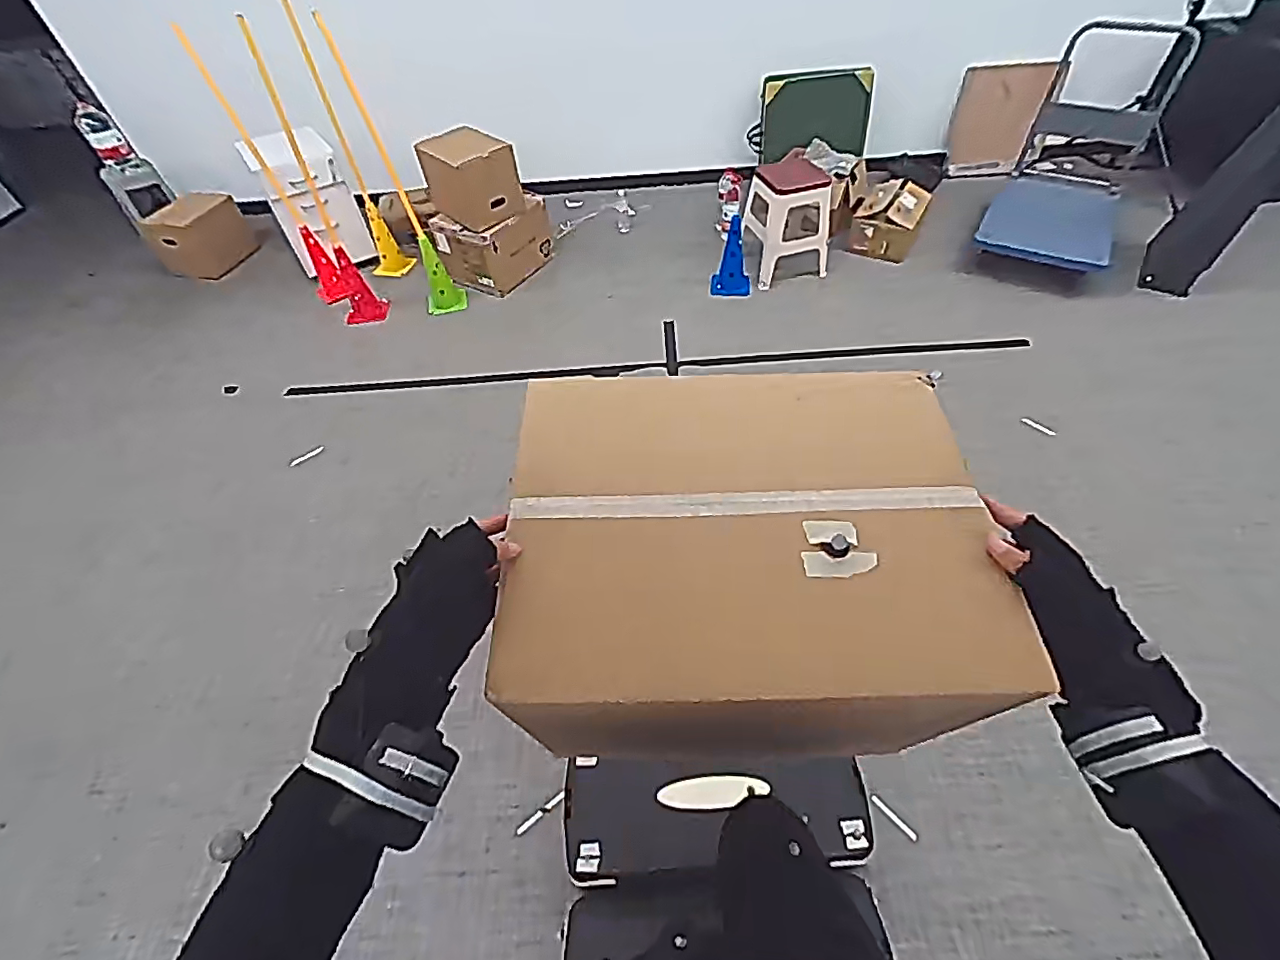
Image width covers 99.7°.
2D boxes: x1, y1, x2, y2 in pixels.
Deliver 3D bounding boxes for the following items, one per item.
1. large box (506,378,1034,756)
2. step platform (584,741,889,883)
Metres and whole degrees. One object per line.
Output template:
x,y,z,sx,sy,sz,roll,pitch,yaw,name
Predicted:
0.093,0.110,0.604,0.408,0.320,0.320,-2,57,0,large box
0.209,0.744,1.276,0.684,0.204,0.286,-5,50,-1,step platform
